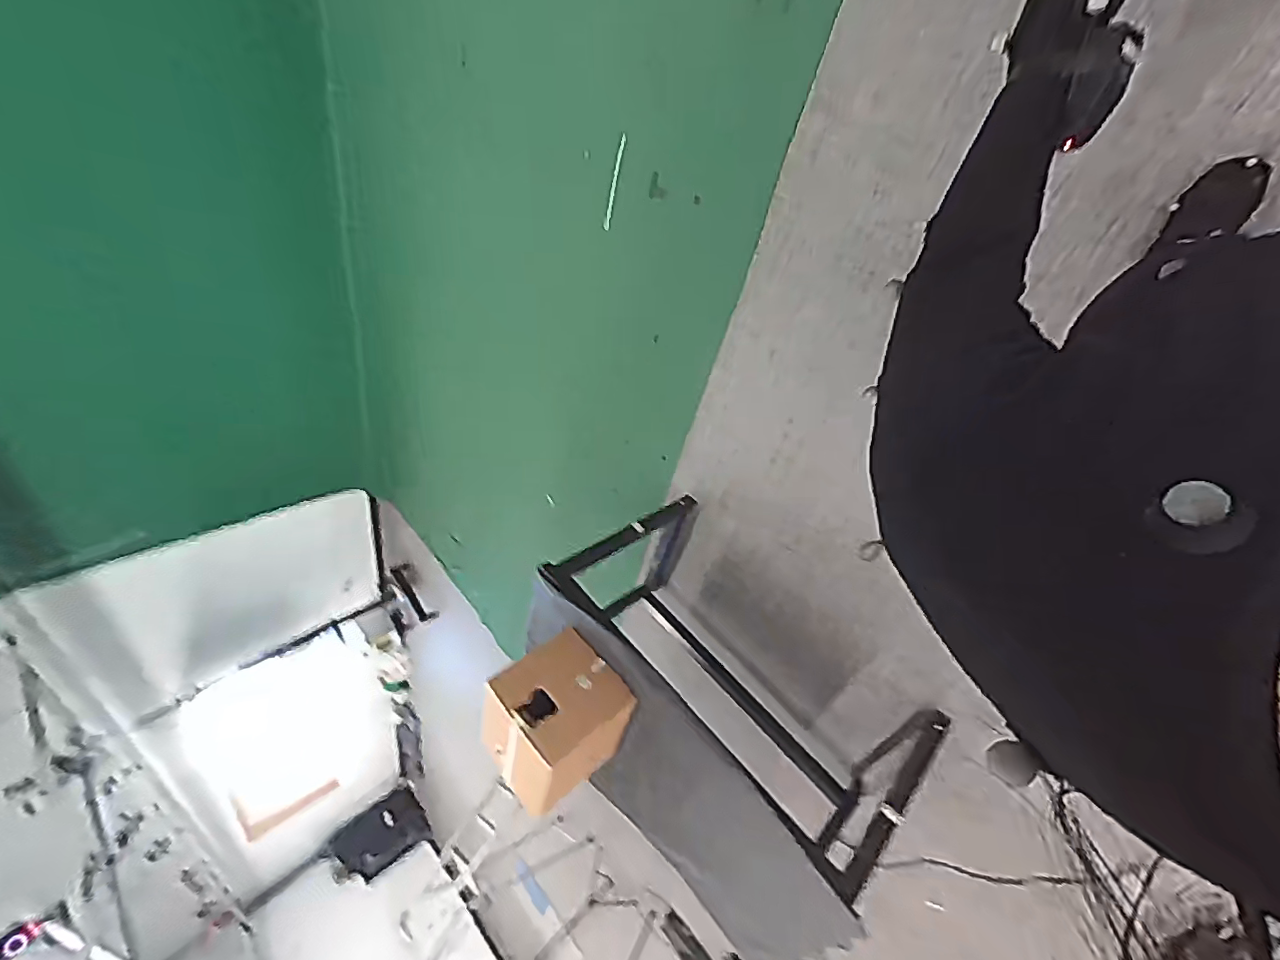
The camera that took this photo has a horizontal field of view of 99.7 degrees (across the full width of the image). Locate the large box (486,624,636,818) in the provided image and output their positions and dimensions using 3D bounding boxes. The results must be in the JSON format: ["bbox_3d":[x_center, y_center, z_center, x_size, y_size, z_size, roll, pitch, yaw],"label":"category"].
[{"bbox_3d":[-0.252,0.726,1.653,0.320,0.320,0.408,40,135,28],"label":"large box"}]
